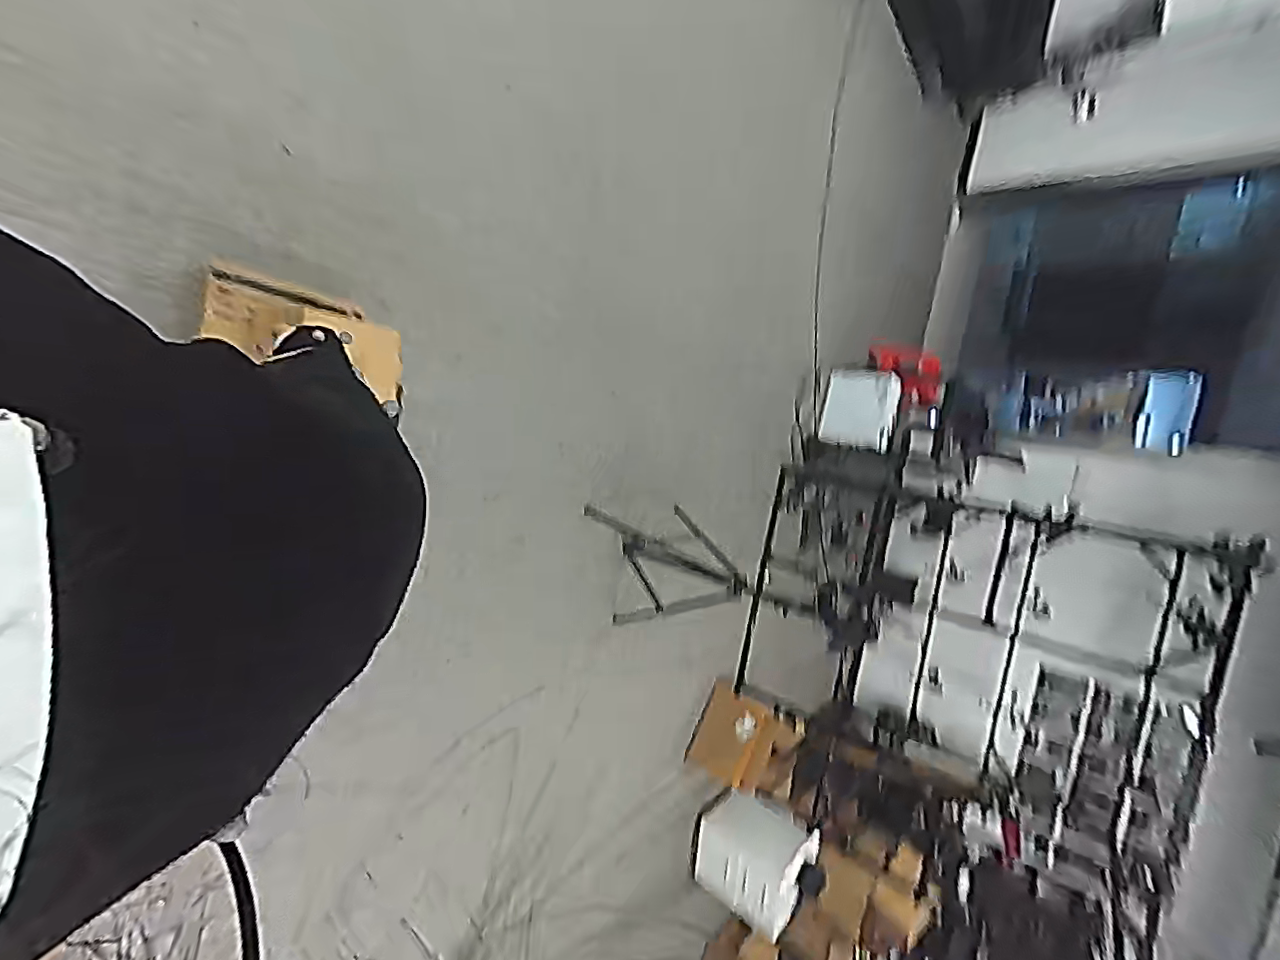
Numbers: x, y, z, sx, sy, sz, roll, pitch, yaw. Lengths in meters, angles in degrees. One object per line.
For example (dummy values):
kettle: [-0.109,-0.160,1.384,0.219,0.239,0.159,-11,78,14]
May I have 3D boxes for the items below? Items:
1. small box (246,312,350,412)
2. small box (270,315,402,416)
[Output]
small box: [-0.724,-0.252,1.174,0.179,0.176,0.168,11,93,-50]
small box: [-0.601,-0.226,1.070,0.179,0.176,0.168,0,100,-50]
